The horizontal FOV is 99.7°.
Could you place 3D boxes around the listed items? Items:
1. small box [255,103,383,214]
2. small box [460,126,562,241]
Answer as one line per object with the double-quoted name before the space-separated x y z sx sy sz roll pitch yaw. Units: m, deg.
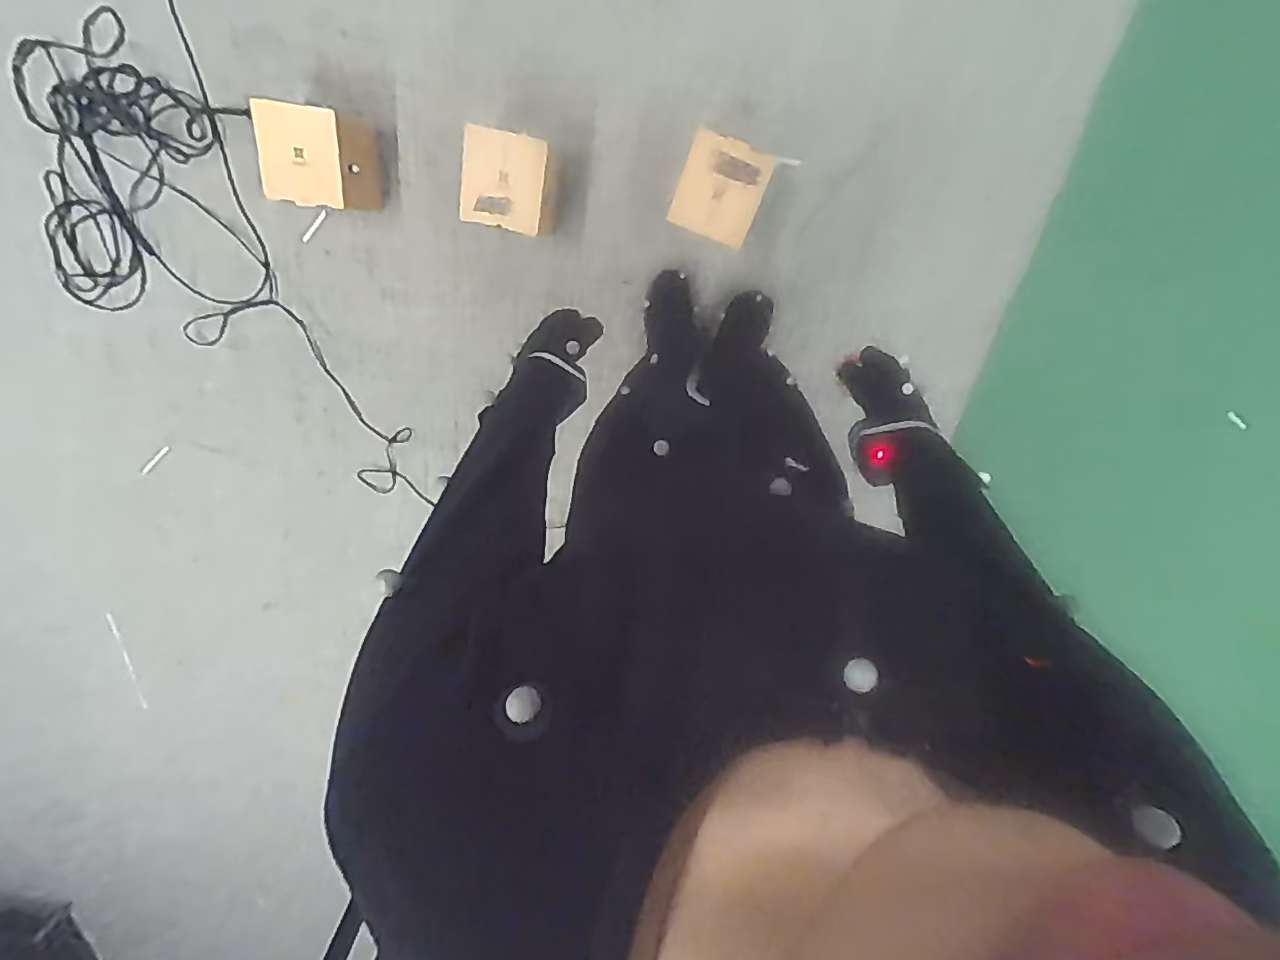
"small box" -0.669 -0.673 1.149 0.168 0.176 0.179 8 116 0
"small box" -0.269 -0.622 1.152 0.168 0.176 0.179 12 115 -3
